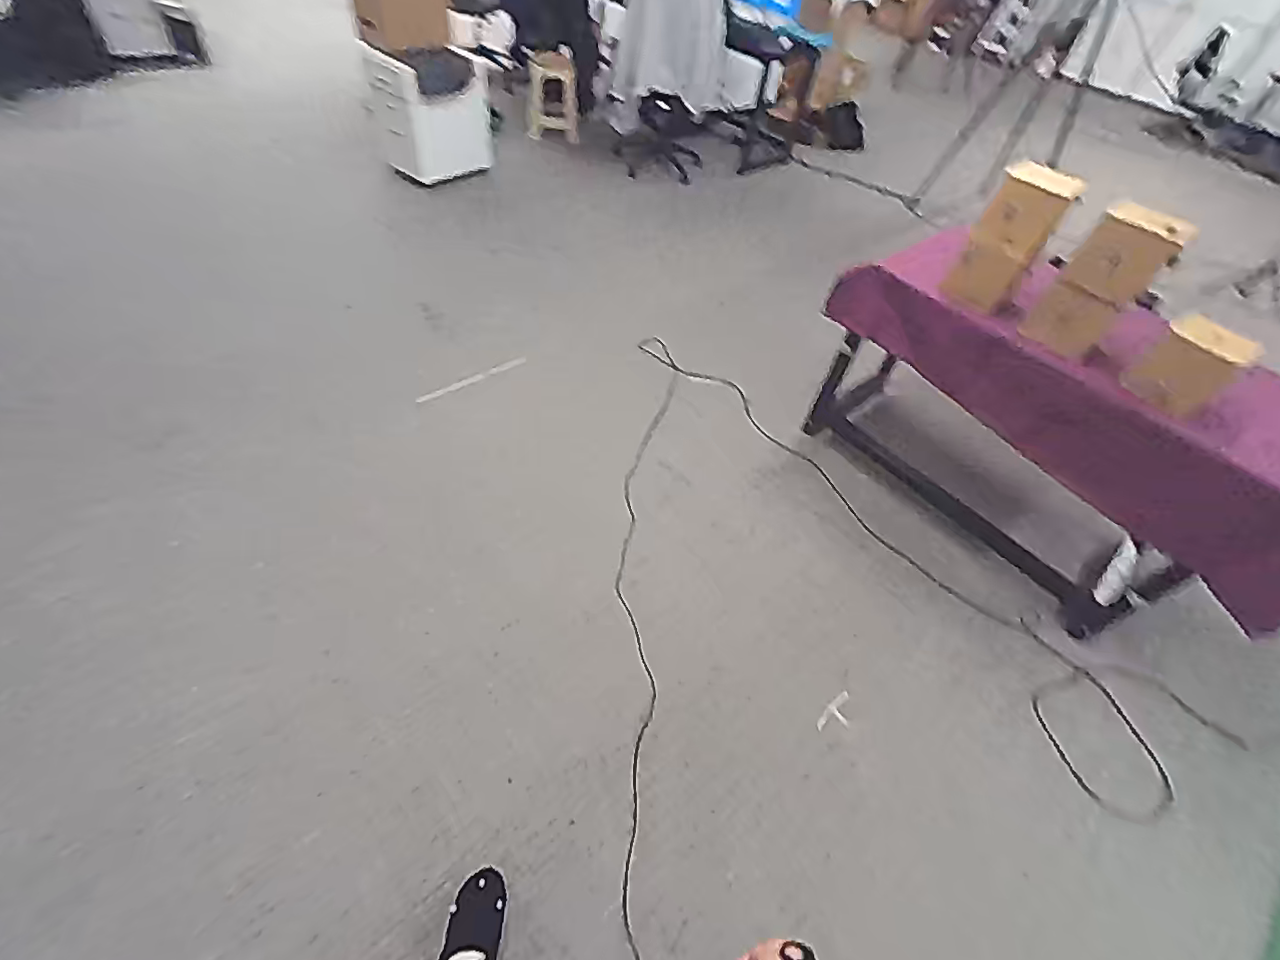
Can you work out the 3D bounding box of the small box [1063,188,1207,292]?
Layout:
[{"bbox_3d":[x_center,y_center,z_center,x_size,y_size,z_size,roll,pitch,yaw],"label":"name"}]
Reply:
[{"bbox_3d":[1.202,-0.581,1.322,0.168,0.176,0.179,-30,60,-29],"label":"small box"}]

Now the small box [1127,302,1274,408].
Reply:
[{"bbox_3d":[1.367,-0.306,1.330,0.179,0.176,0.168,-25,58,-26],"label":"small box"}]

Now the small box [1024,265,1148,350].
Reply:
[{"bbox_3d":[1.186,-0.478,1.450,0.168,0.176,0.179,-32,61,-29],"label":"small box"}]

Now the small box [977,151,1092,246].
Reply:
[{"bbox_3d":[1.042,-0.748,1.442,0.179,0.176,0.168,-34,62,-32],"label":"small box"}]
